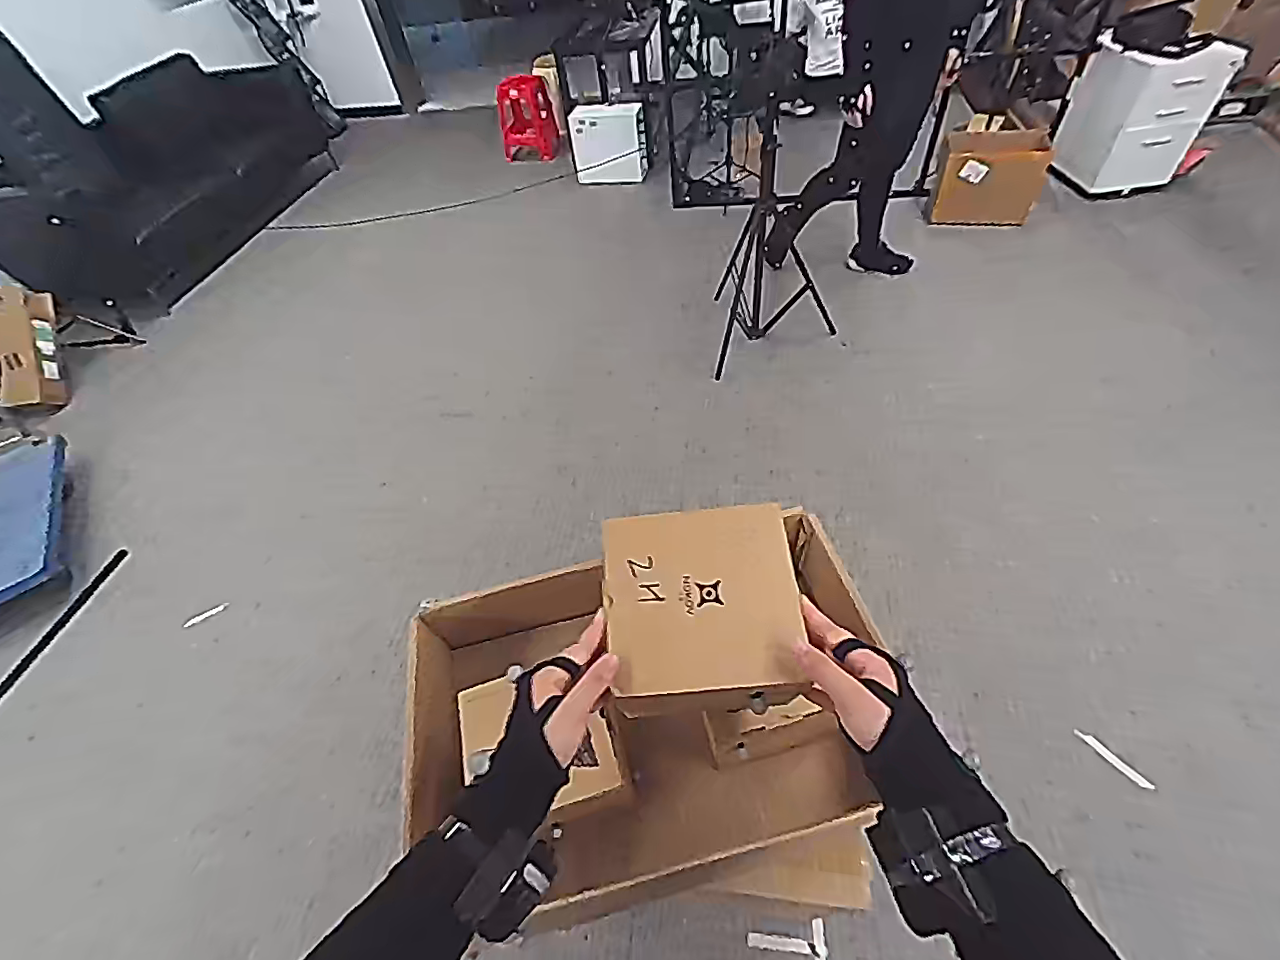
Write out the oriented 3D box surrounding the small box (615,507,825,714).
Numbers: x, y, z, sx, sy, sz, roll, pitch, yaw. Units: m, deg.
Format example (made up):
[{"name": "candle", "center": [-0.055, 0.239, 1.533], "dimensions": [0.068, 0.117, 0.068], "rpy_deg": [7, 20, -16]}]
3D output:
[{"name": "small box", "center": [0.072, 0.143, 0.560], "dimensions": [0.179, 0.176, 0.168], "rpy_deg": [-6, 60, 4]}]
